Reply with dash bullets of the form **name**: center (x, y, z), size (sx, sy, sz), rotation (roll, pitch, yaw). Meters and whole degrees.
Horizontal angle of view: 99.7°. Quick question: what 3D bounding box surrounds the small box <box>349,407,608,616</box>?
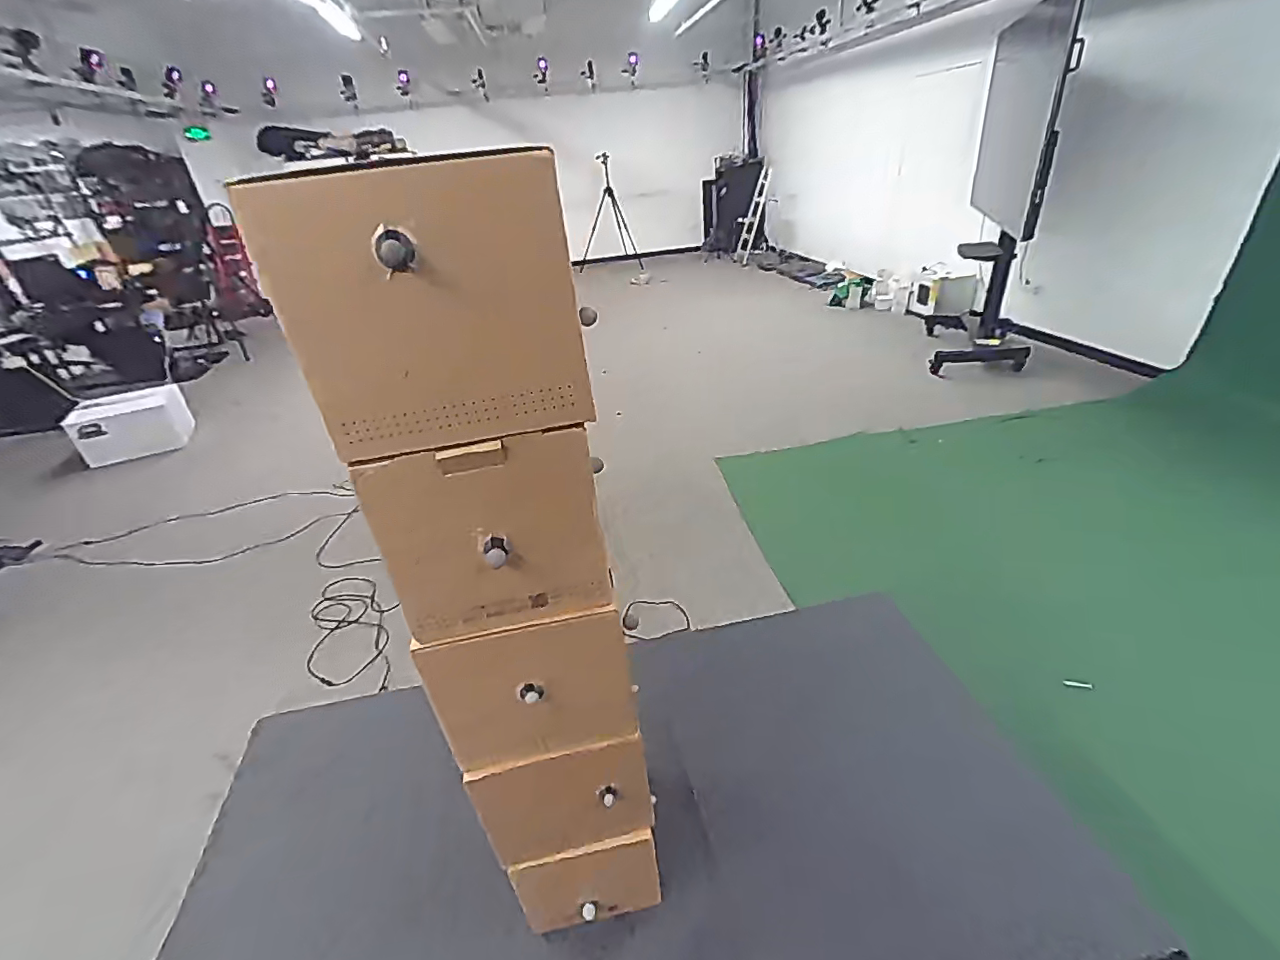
- **small box**: center (-0.127, 0.003, 0.486), size (0.168, 0.176, 0.179), rotation (-10, 30, -7)

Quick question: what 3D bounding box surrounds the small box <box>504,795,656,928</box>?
- **small box**: center (-0.077, 0.435, 0.710), size (0.168, 0.176, 0.179), rotation (-9, 31, -6)

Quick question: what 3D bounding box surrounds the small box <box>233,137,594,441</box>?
- **small box**: center (-0.138, -0.140, 0.403), size (0.179, 0.176, 0.168), rotation (-10, 29, -6)

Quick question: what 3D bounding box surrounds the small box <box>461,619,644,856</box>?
- **small box**: center (-0.095, 0.294, 0.631), size (0.179, 0.176, 0.168), rotation (-10, 30, -8)
